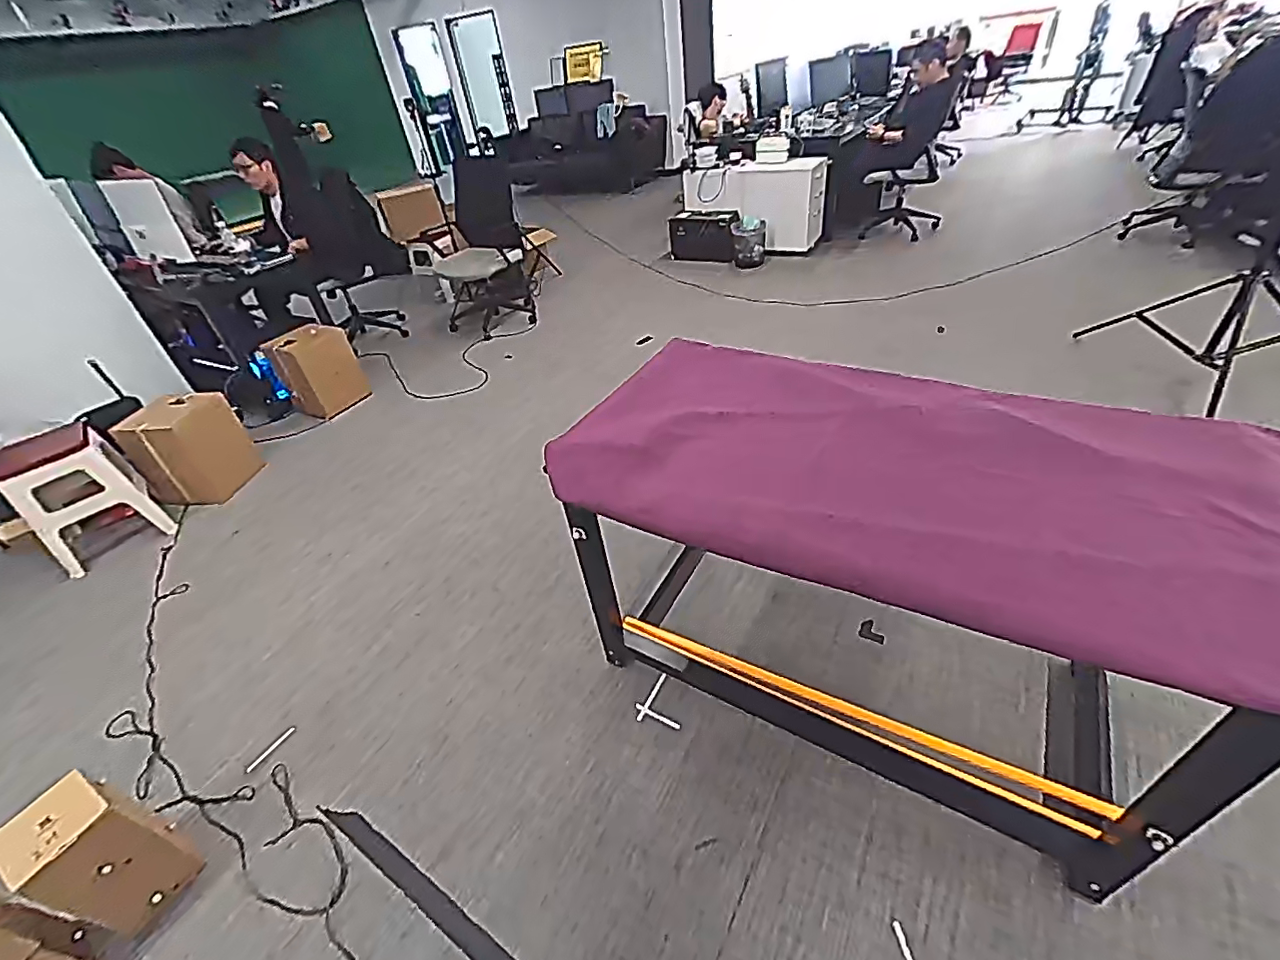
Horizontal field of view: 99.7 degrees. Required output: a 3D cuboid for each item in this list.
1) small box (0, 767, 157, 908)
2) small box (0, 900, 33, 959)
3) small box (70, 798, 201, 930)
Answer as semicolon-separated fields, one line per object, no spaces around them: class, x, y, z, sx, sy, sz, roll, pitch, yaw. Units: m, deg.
small box;-1.188;0.752;1.136;0.179;0.176;0.168;16;45;26
small box;-1.309;0.884;1.000;0.179;0.176;0.168;12;43;25
small box;-1.171;0.880;1.238;0.179;0.176;0.168;17;45;27
